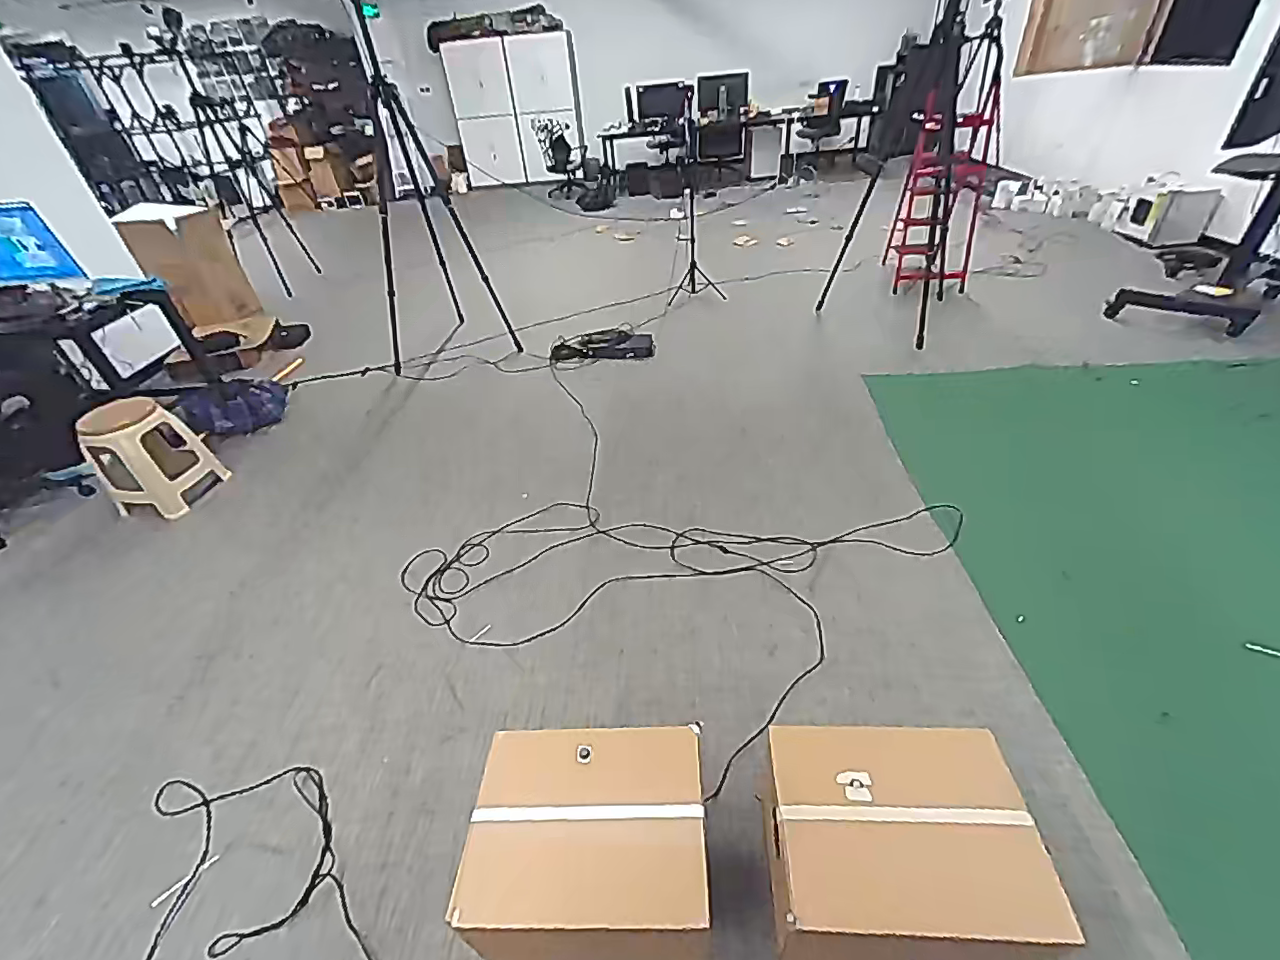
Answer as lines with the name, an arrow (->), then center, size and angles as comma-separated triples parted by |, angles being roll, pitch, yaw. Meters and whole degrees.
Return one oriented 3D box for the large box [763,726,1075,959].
large box -> 0.454, 0.680, 1.002 | 0.408, 0.320, 0.320 | -2, 38, 6
